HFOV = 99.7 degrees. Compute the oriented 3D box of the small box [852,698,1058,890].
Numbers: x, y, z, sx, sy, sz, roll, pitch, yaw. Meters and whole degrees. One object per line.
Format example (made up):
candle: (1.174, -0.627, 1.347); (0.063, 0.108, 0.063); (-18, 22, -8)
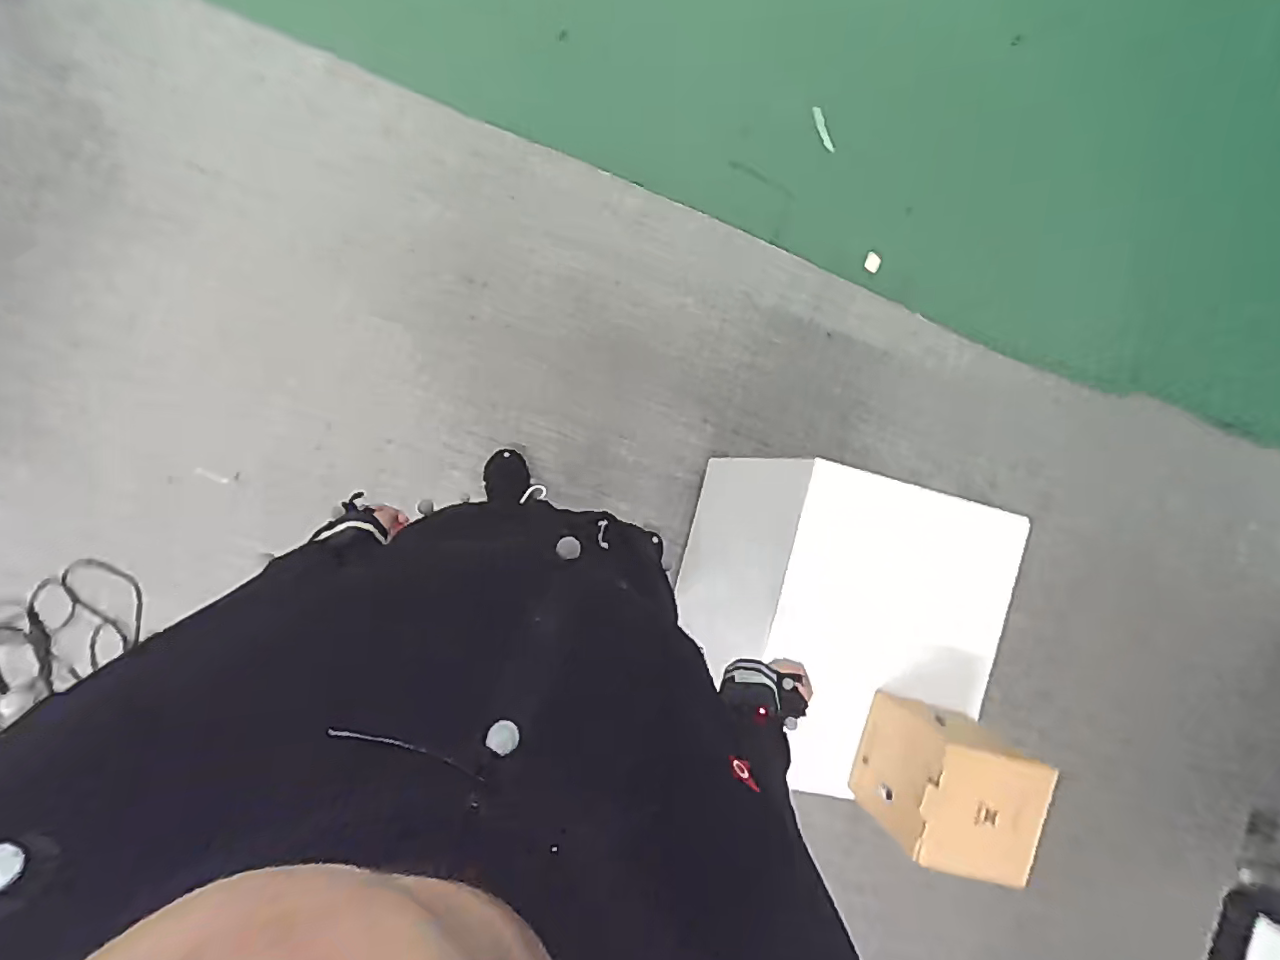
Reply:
small box: (0.444, 0.443, 0.790); (0.179, 0.176, 0.168); (18, 90, -10)
